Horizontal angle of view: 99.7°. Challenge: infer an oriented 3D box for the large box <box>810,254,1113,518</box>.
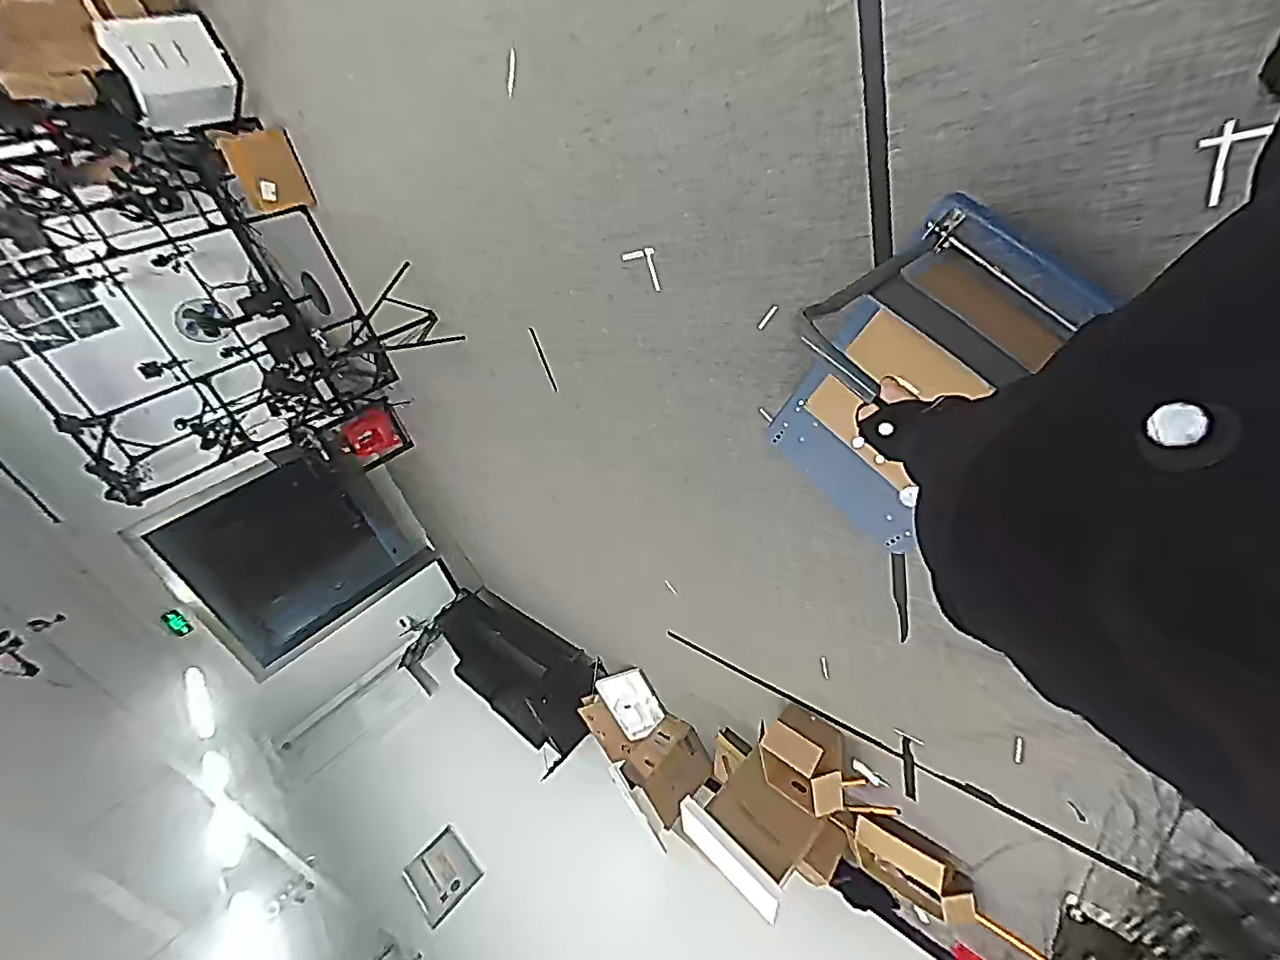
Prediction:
[{"bbox_3d":[0.667,-0.202,1.161,0.408,0.320,0.320,46,148,13],"label":"large box"}]
